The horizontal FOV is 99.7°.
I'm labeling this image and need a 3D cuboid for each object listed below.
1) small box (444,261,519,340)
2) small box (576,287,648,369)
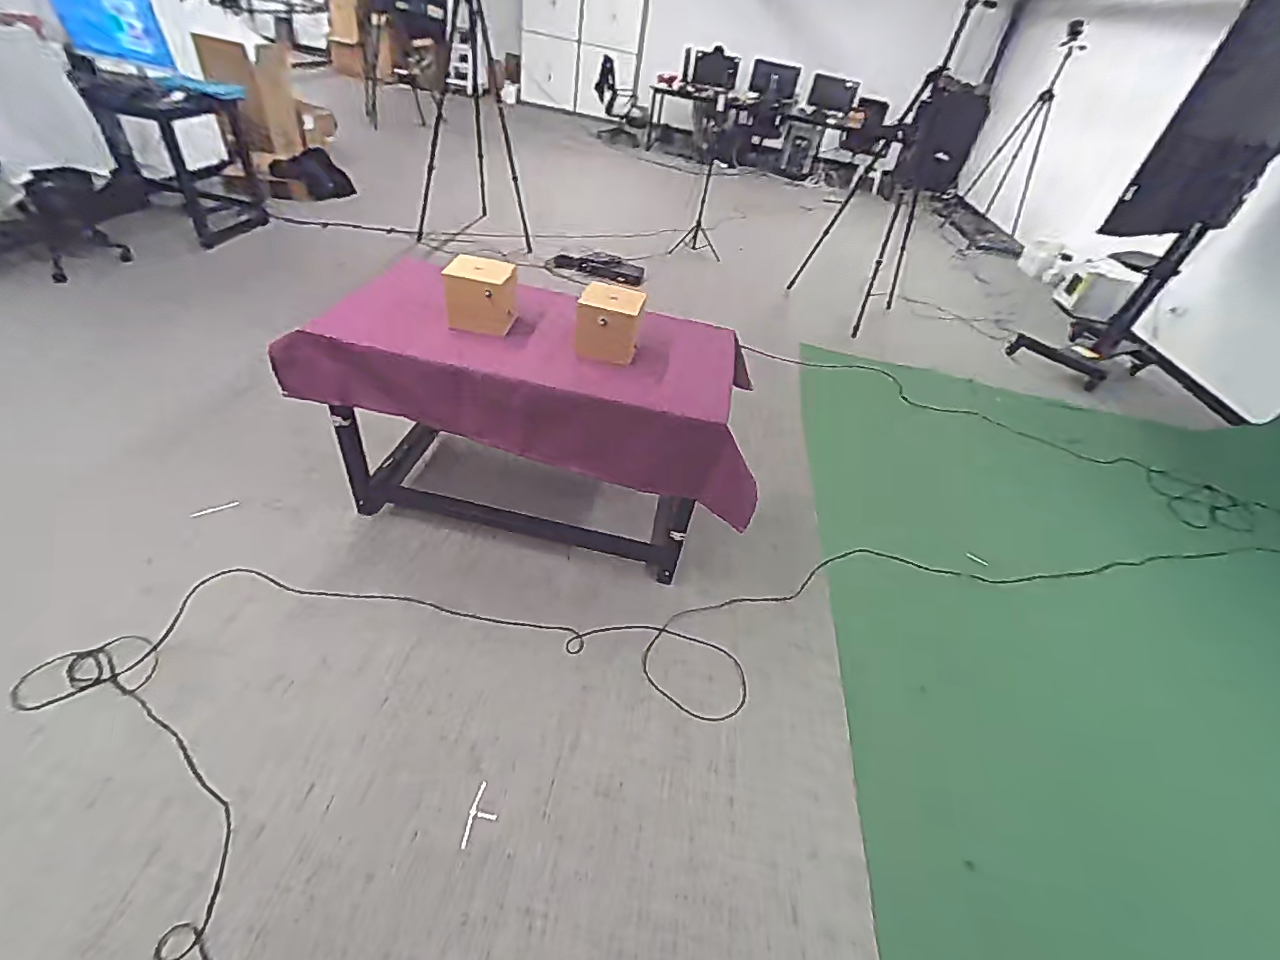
[{"bbox_3d":[-0.473,-0.540,1.635,0.179,0.176,0.168,11,40,-2],"label":"small box"},{"bbox_3d":[-0.087,-0.454,1.621,0.179,0.176,0.168,15,41,3],"label":"small box"}]
